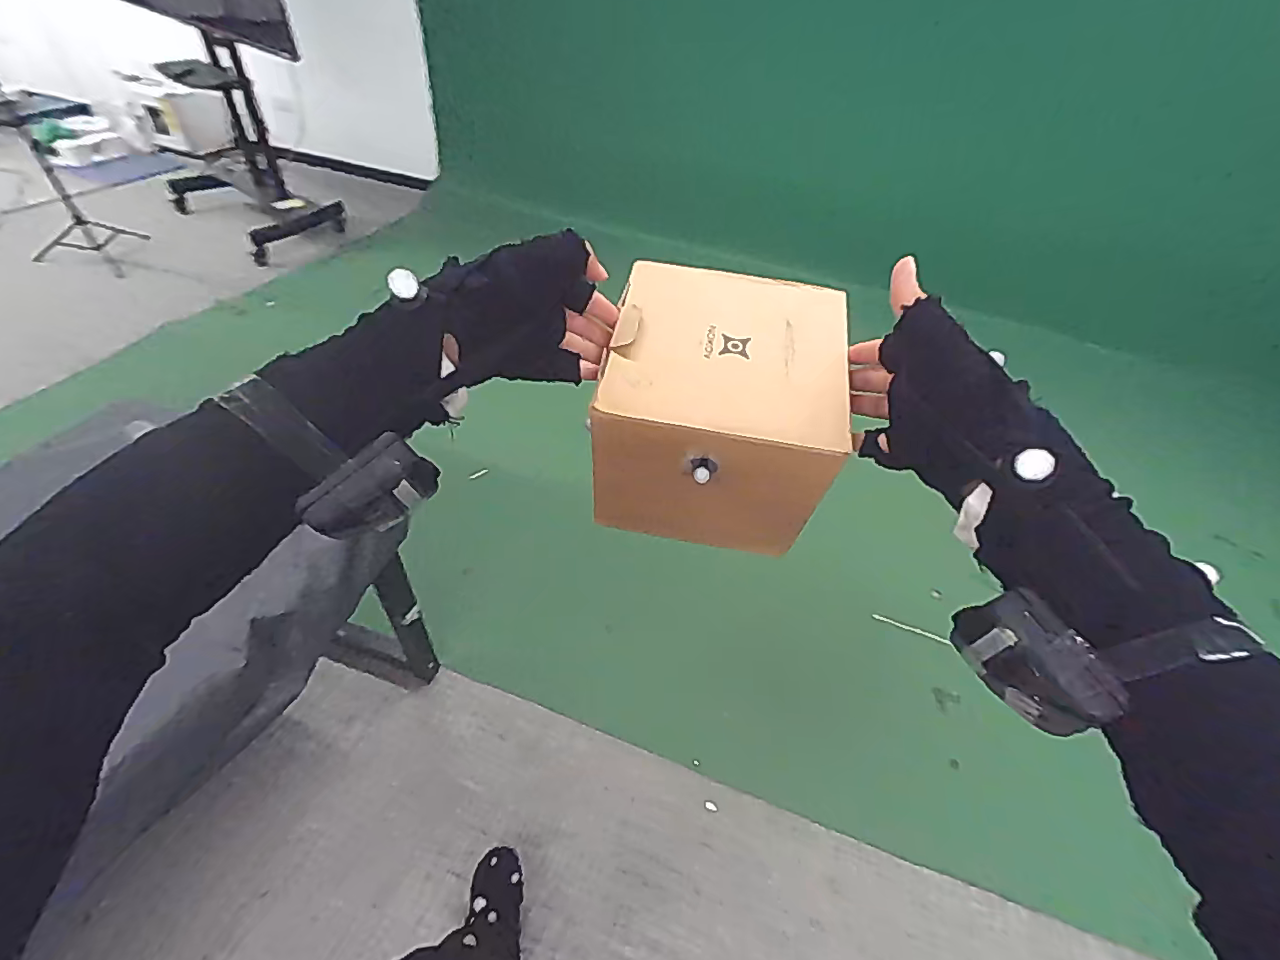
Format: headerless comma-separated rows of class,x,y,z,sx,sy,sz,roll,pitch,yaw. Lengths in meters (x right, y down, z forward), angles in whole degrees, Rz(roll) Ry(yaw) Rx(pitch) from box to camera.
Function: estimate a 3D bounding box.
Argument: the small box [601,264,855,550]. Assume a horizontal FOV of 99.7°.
small box,0.067,-0.055,0.471,0.179,0.176,0.168,11,58,2
